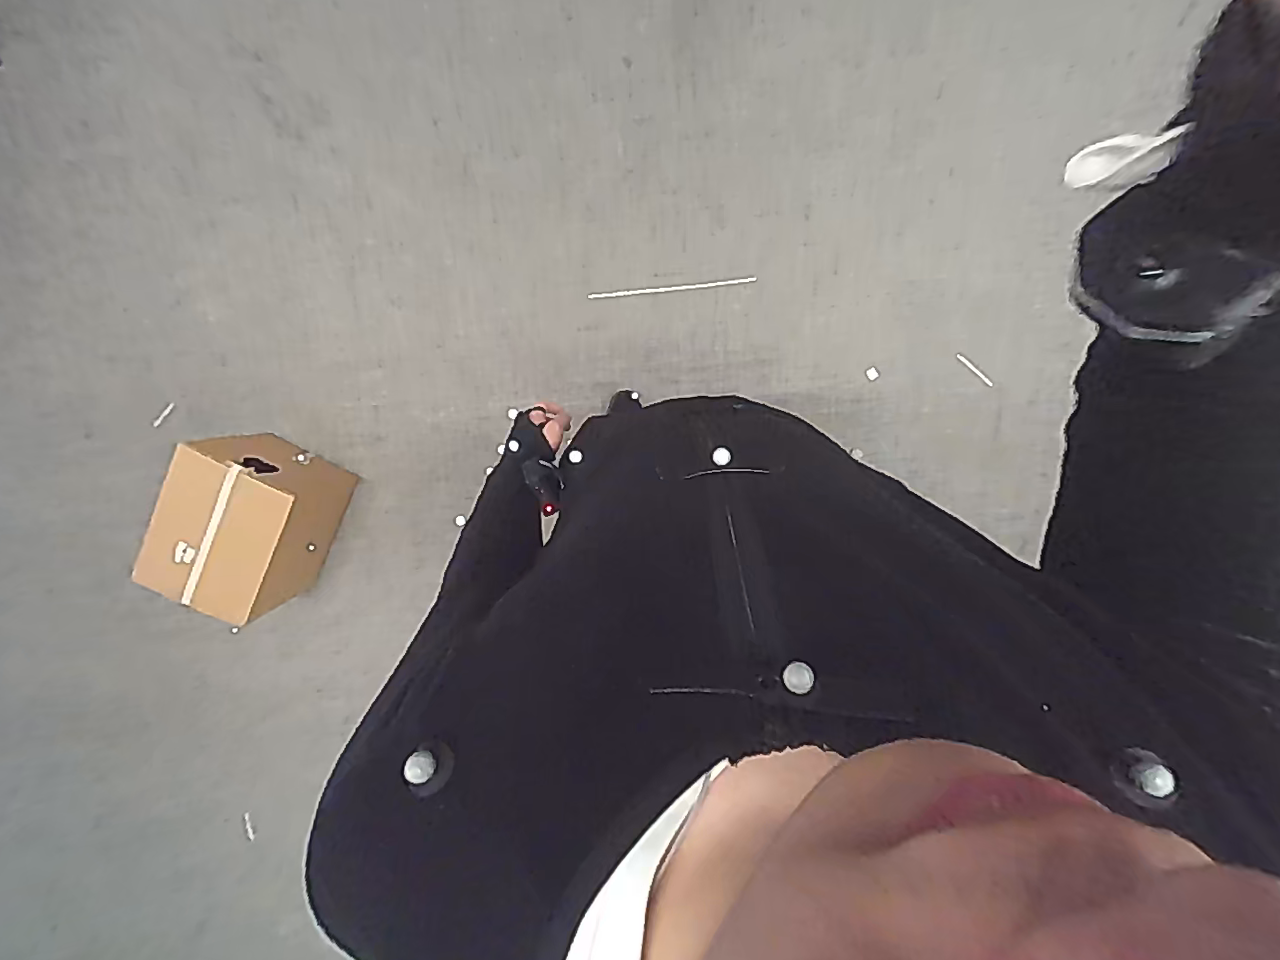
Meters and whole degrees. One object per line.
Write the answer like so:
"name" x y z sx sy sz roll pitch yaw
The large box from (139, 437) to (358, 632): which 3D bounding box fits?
"large box" -1.071 0.132 1.516 0.320 0.320 0.408 26 100 -3
